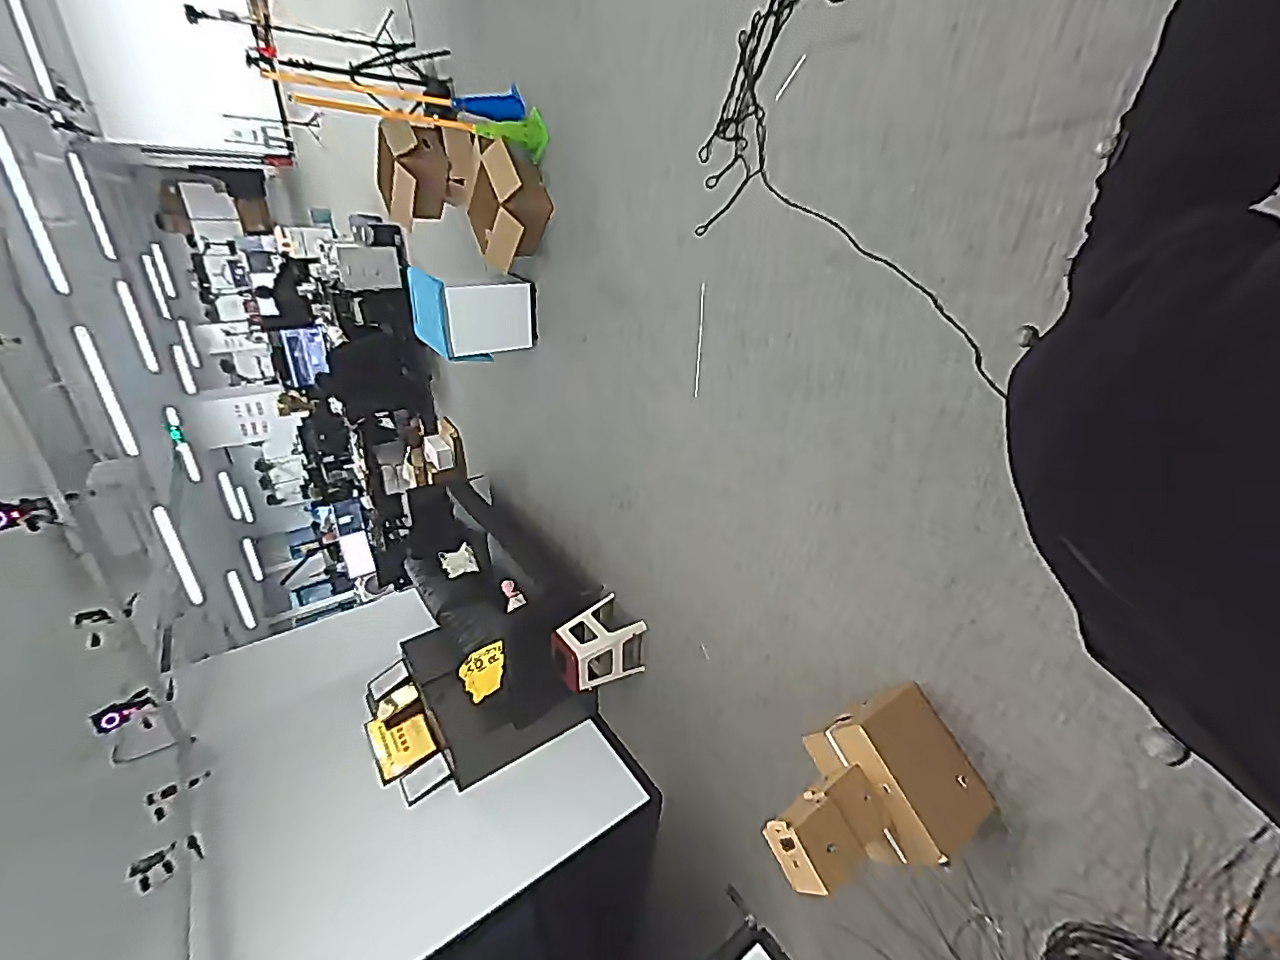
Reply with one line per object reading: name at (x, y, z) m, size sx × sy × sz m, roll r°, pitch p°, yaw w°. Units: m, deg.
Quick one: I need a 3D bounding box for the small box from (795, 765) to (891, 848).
small box at (0.624, 1.005, 1.667) m, size 0.179 × 0.176 × 0.168 m, roll 58°, pitch 146°, yaw 23°

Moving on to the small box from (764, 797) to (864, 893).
small box at (0.501, 1.045, 1.563) m, size 0.179 × 0.176 × 0.168 m, roll 59°, pitch 146°, yaw 19°
